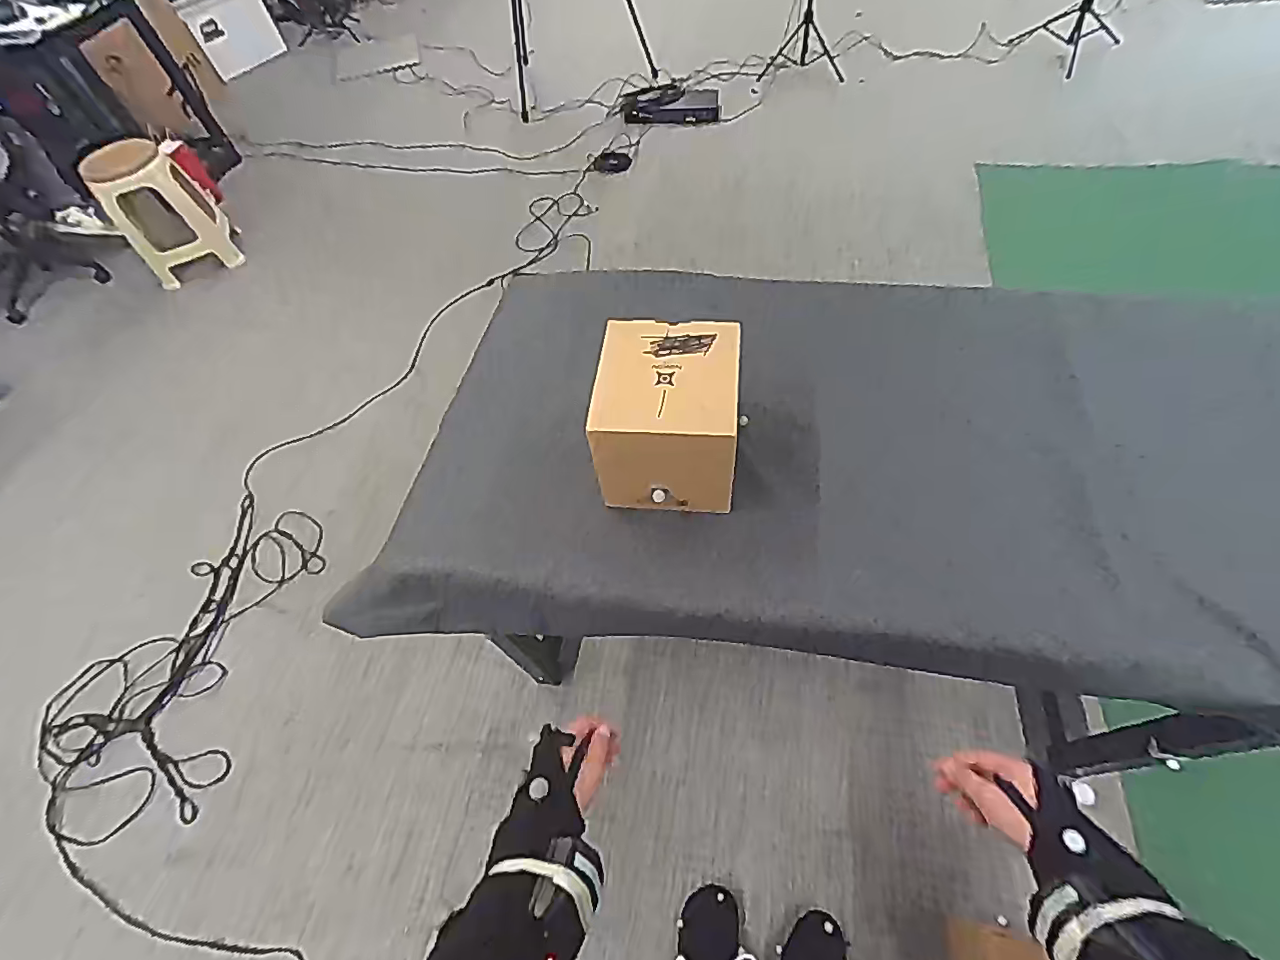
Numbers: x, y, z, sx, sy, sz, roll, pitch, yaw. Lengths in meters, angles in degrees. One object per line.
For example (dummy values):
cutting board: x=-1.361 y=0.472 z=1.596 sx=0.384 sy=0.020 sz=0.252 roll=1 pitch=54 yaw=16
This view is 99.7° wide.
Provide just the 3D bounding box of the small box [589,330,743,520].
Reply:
small box: x=0.042 y=-0.069 z=0.692 sx=0.168 sy=0.176 sz=0.179 roll=3 pitch=57 yaw=9

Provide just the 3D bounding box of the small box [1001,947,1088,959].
small box: x=0.638 y=0.767 z=0.737 sx=0.179 sy=0.176 sz=0.168 roll=4 pitch=57 yaw=9

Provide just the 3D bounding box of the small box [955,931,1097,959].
small box: x=0.636 y=0.856 z=0.876 sx=0.179 sy=0.176 sz=0.168 roll=5 pitch=55 yaw=10
